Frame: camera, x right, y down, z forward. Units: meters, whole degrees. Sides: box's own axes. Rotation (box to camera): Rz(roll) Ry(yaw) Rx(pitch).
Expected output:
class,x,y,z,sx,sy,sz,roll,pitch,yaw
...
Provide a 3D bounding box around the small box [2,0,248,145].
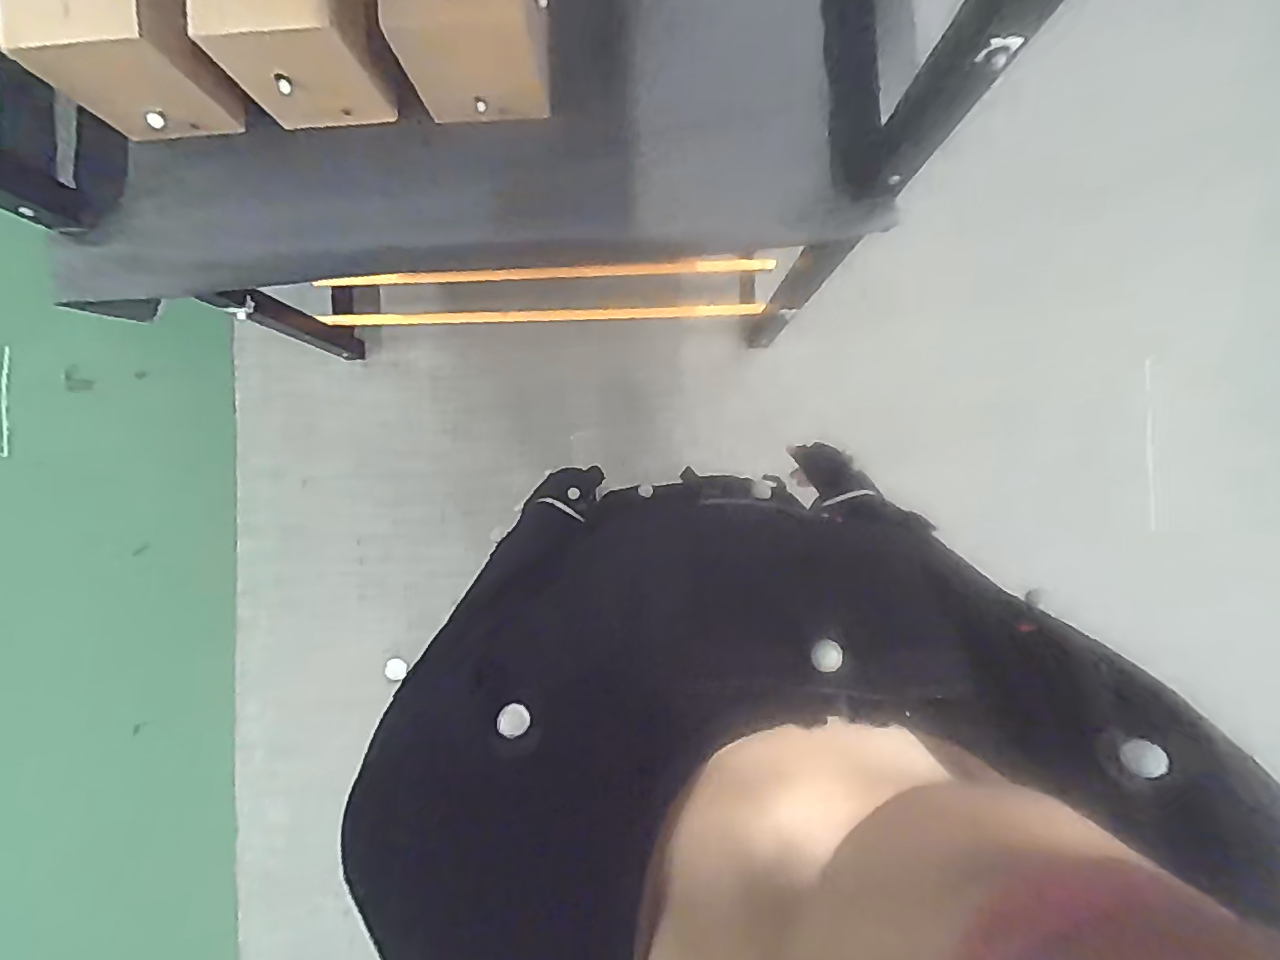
class,x,y,z,sx,sy,sz,roll,pitch,yaw
small box,-0.649,-0.576,0.701,0.168,0.176,0.179,-4,89,1
